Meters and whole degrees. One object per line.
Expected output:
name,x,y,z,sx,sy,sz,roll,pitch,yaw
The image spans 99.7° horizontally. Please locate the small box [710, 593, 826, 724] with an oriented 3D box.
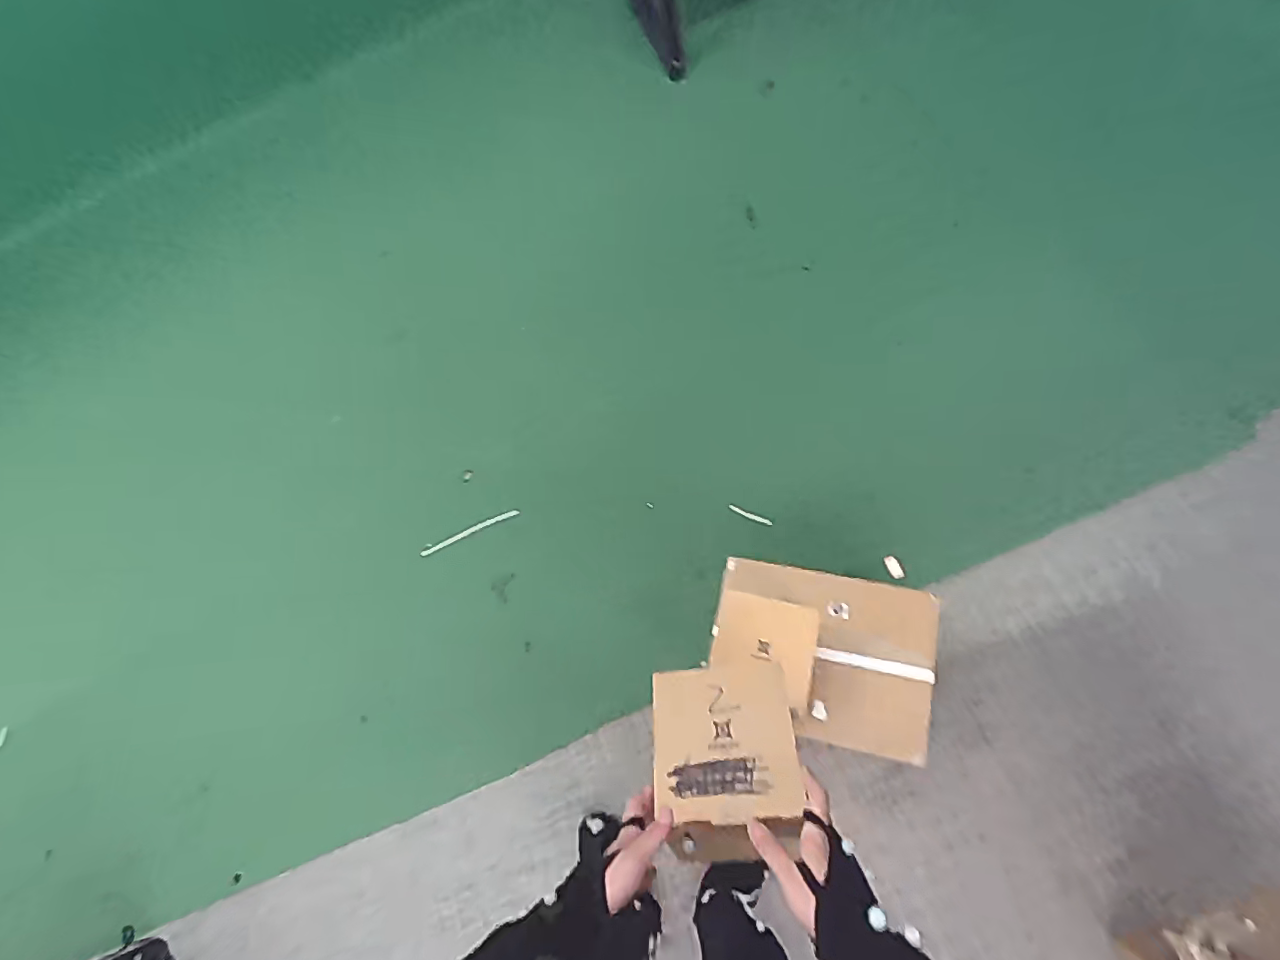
small box,0.226,0.317,0.973,0.168,0.176,0.179,11,74,14
